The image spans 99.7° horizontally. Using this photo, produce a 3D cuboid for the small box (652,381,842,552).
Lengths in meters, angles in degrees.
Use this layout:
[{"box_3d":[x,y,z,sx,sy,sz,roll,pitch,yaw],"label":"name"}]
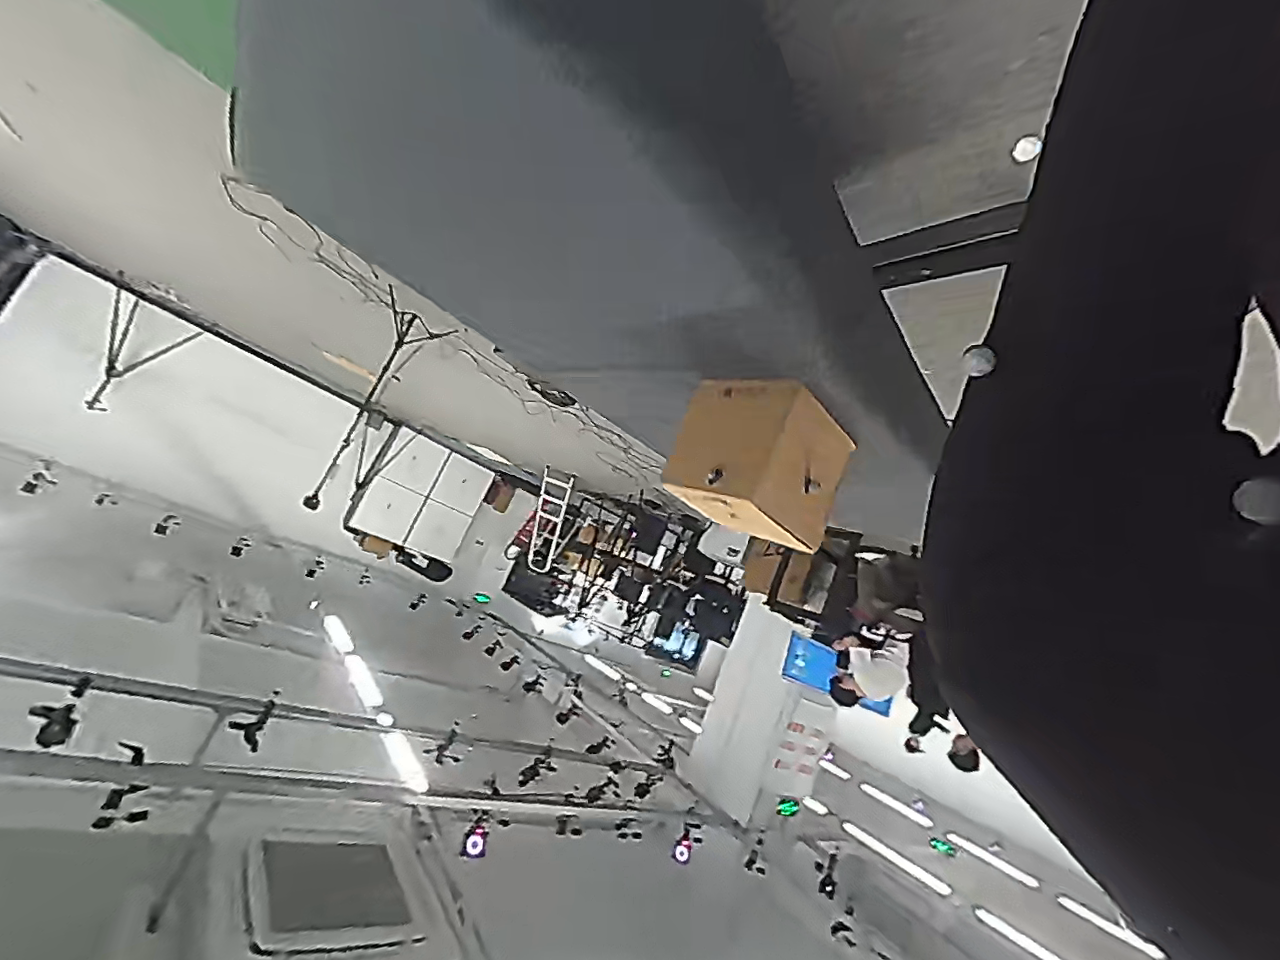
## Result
[{"box_3d":[0.155,-0.021,0.759,0.179,0.176,0.168,33,166,-39],"label":"small box"}]
